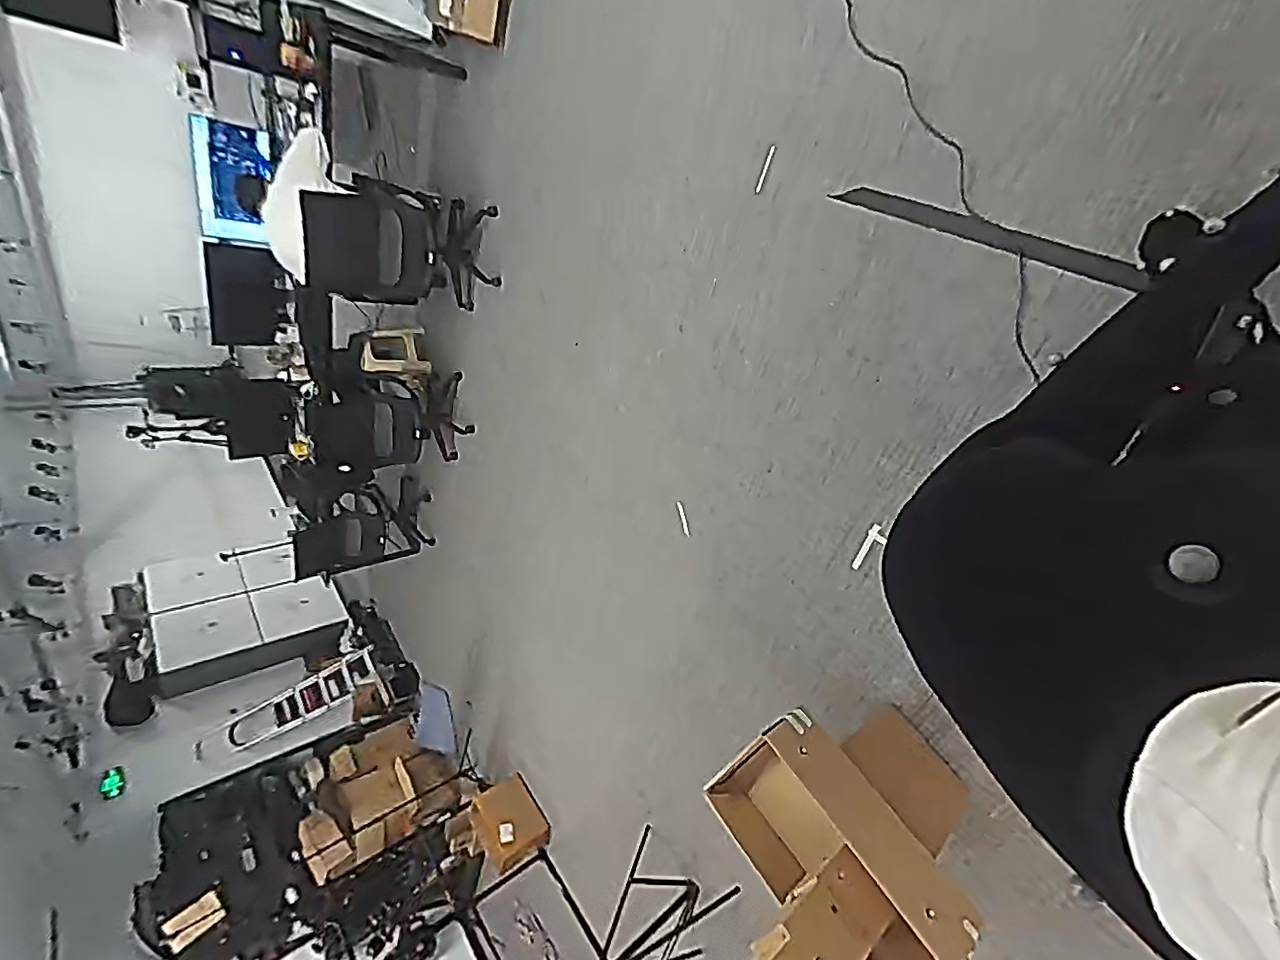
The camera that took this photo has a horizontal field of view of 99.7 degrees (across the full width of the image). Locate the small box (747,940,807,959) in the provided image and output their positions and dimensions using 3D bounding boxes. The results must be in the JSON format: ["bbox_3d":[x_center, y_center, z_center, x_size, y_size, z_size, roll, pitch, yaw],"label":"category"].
[{"bbox_3d":[0.300,1.151,1.176,0.179,0.176,0.168,50,132,29],"label":"small box"}]

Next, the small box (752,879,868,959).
[{"bbox_3d":[0.408,1.110,1.293,0.168,0.176,0.179,47,132,31],"label":"small box"}]
